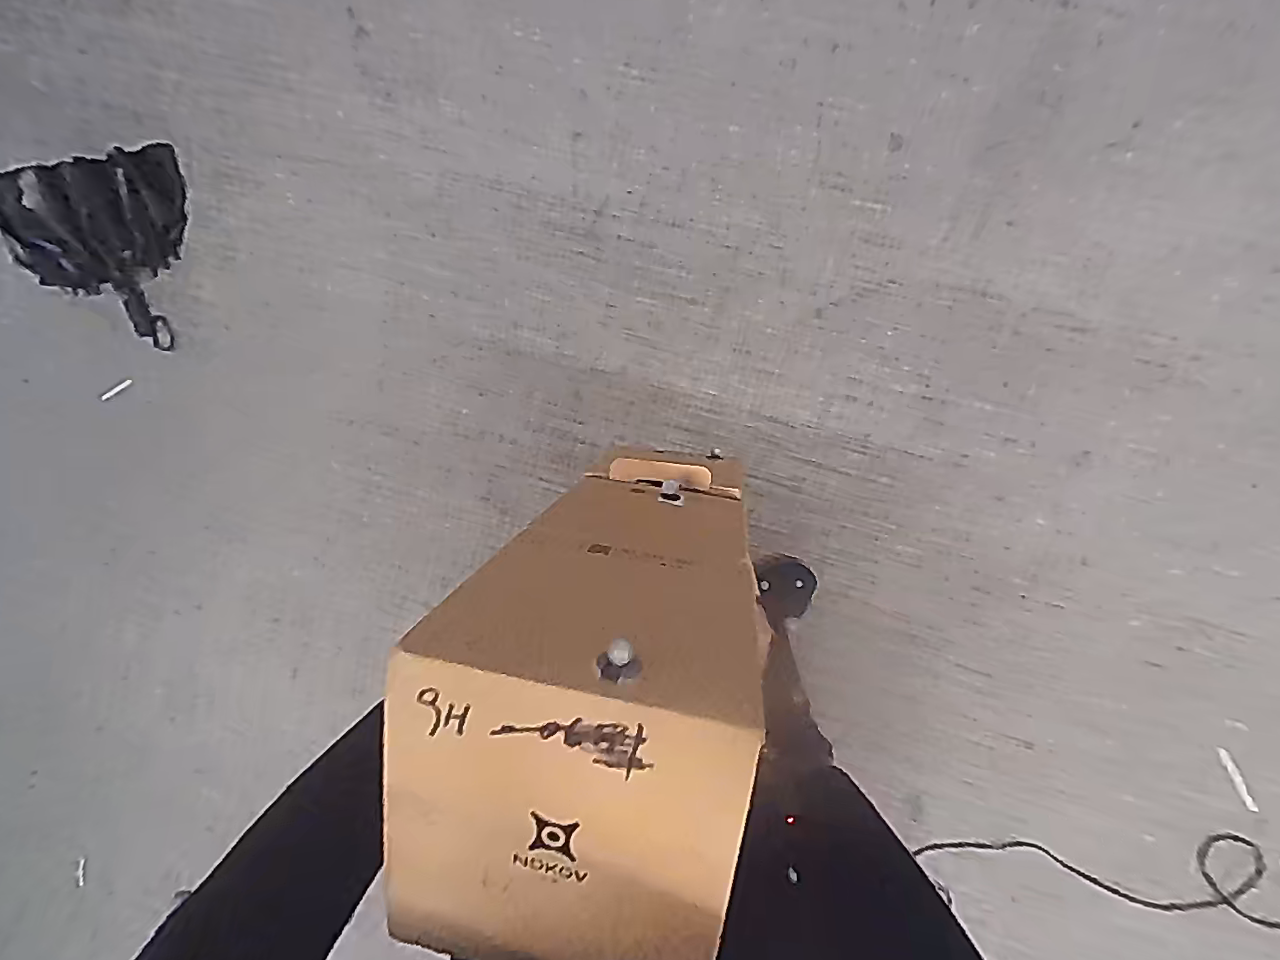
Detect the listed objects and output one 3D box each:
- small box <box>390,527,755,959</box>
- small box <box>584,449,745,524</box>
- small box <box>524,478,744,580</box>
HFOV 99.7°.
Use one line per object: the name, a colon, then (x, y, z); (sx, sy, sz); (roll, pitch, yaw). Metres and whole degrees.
small box: (-0.026, 0.148, 0.329); (0.168, 0.176, 0.179); (9, 107, 8)
small box: (0.031, 0.065, 0.638); (0.168, 0.176, 0.179); (6, 105, 10)
small box: (0.001, 0.108, 0.485); (0.168, 0.176, 0.179); (7, 104, 8)
